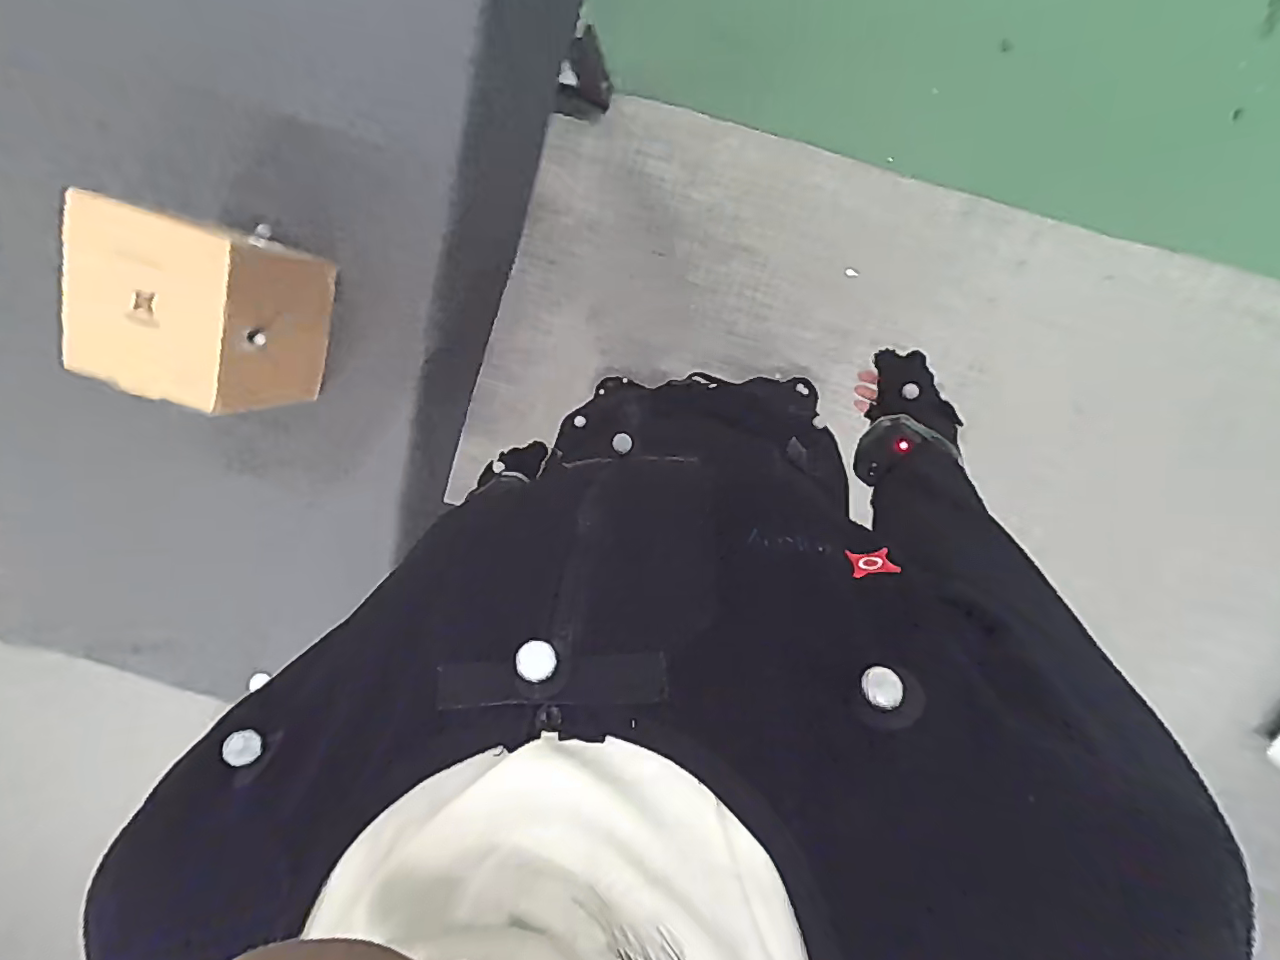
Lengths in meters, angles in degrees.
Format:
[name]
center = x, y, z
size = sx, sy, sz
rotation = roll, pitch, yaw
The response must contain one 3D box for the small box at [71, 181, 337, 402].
[small box]
center = -0.477, -0.202, 0.614
size = 0.168, 0.176, 0.179
rotation = 17, 104, 1
